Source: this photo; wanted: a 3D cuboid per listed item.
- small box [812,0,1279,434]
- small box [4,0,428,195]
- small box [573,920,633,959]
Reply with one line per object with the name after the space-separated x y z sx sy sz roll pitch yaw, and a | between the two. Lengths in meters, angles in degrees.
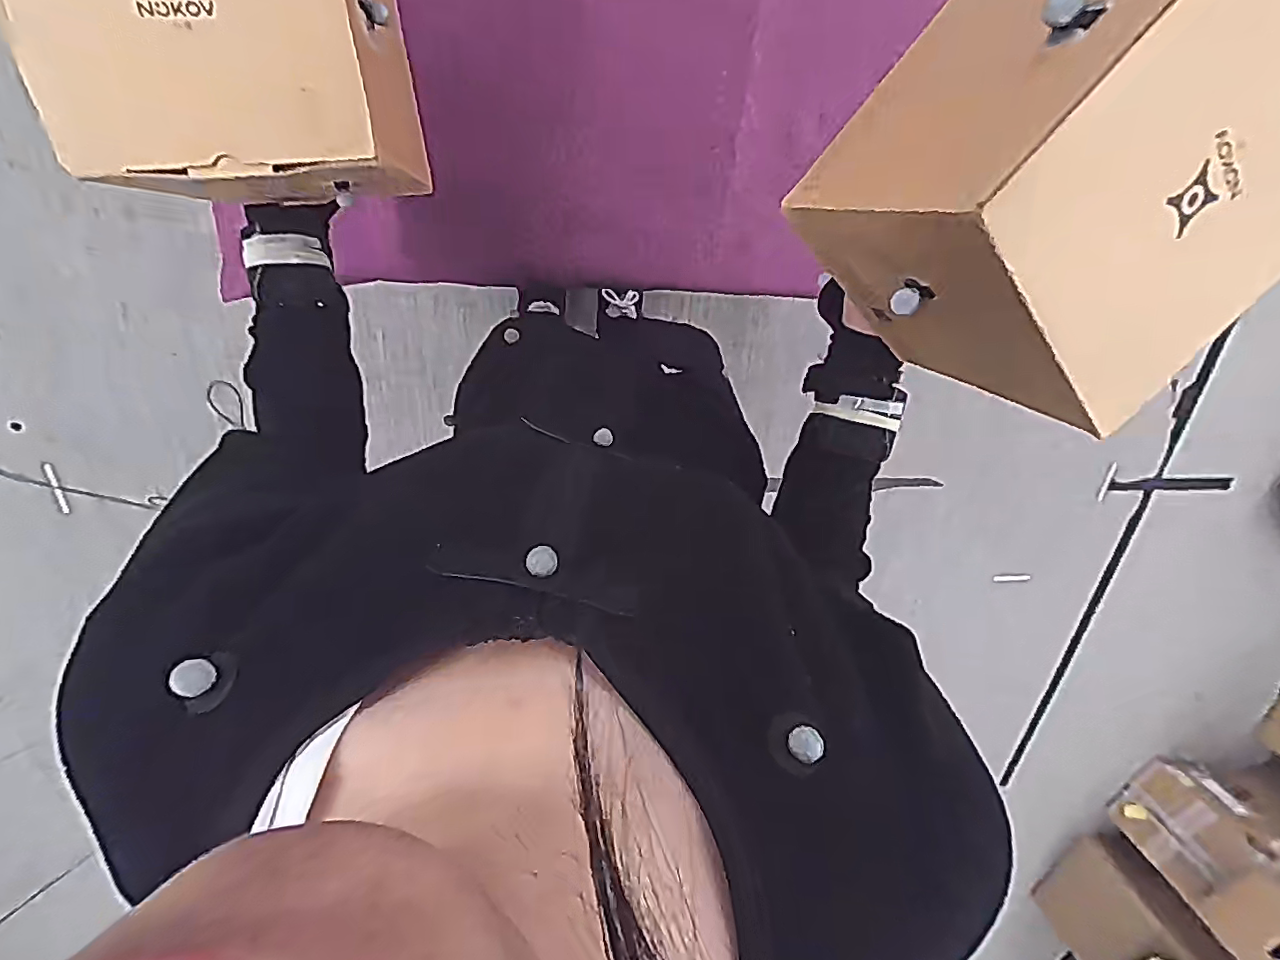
0.227 -0.162 0.308 0.168 0.176 0.179 36 101 -29 | small box
-0.247 -0.288 0.345 0.168 0.176 0.179 -8 112 -8 | small box
-0.118 1.509 1.682 0.168 0.176 0.179 4 114 -11 | small box
